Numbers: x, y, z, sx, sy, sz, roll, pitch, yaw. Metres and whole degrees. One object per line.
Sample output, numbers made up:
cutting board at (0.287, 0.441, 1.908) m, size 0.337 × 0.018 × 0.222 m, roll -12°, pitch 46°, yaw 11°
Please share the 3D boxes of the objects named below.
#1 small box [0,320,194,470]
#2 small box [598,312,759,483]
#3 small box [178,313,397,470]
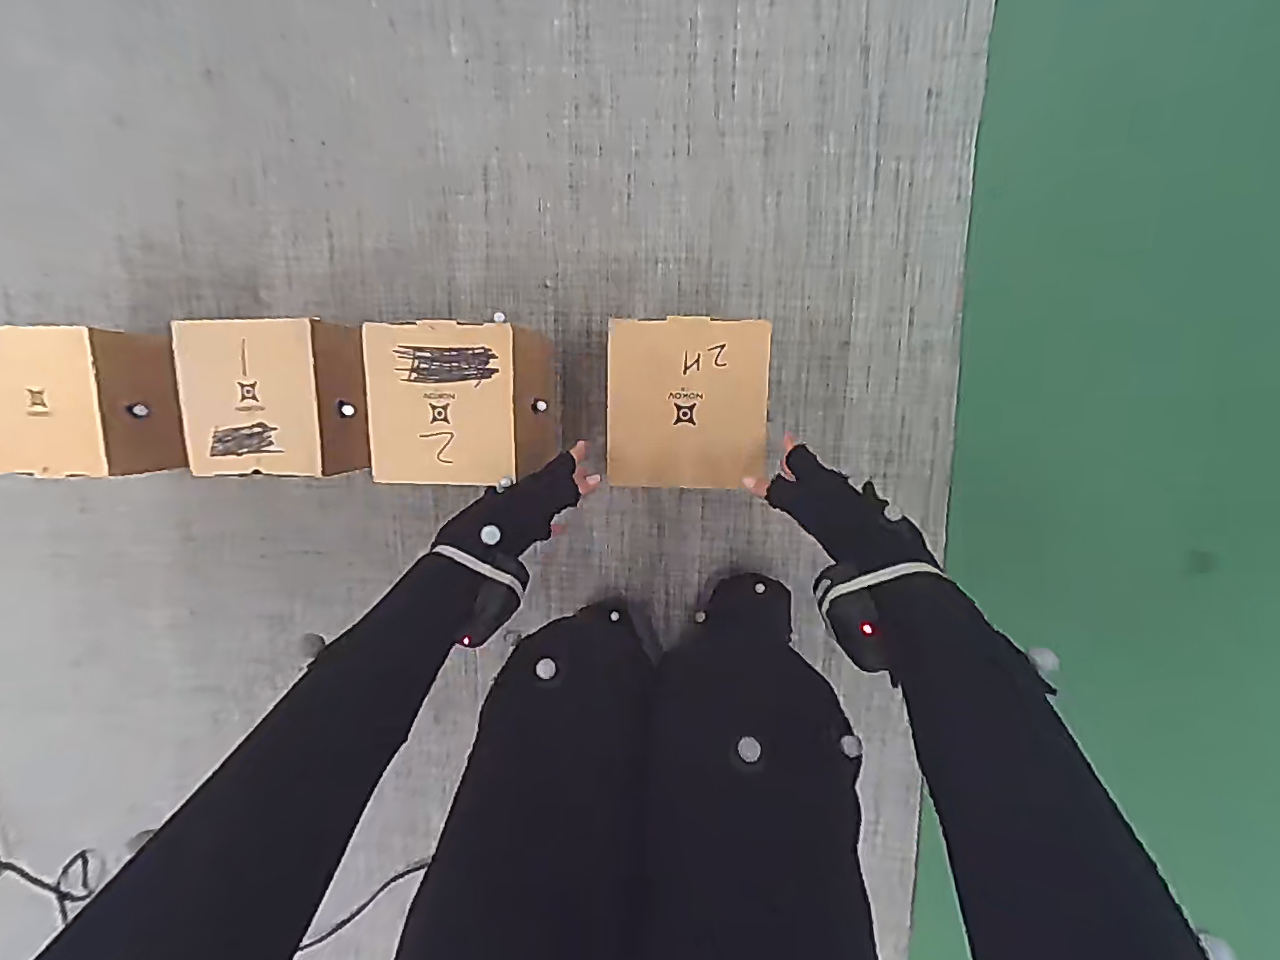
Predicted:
small box at (-0.697, -0.111, 0.724) m, size 0.168 × 0.176 × 0.179 m, roll 1°, pitch 99°, yaw 6°
small box at (0.046, -0.098, 0.644) m, size 0.168 × 0.176 × 0.179 m, roll 2°, pitch 98°, yaw 5°
small box at (-0.432, -0.111, 0.692) m, size 0.168 × 0.176 × 0.179 m, roll 1°, pitch 98°, yaw 7°
